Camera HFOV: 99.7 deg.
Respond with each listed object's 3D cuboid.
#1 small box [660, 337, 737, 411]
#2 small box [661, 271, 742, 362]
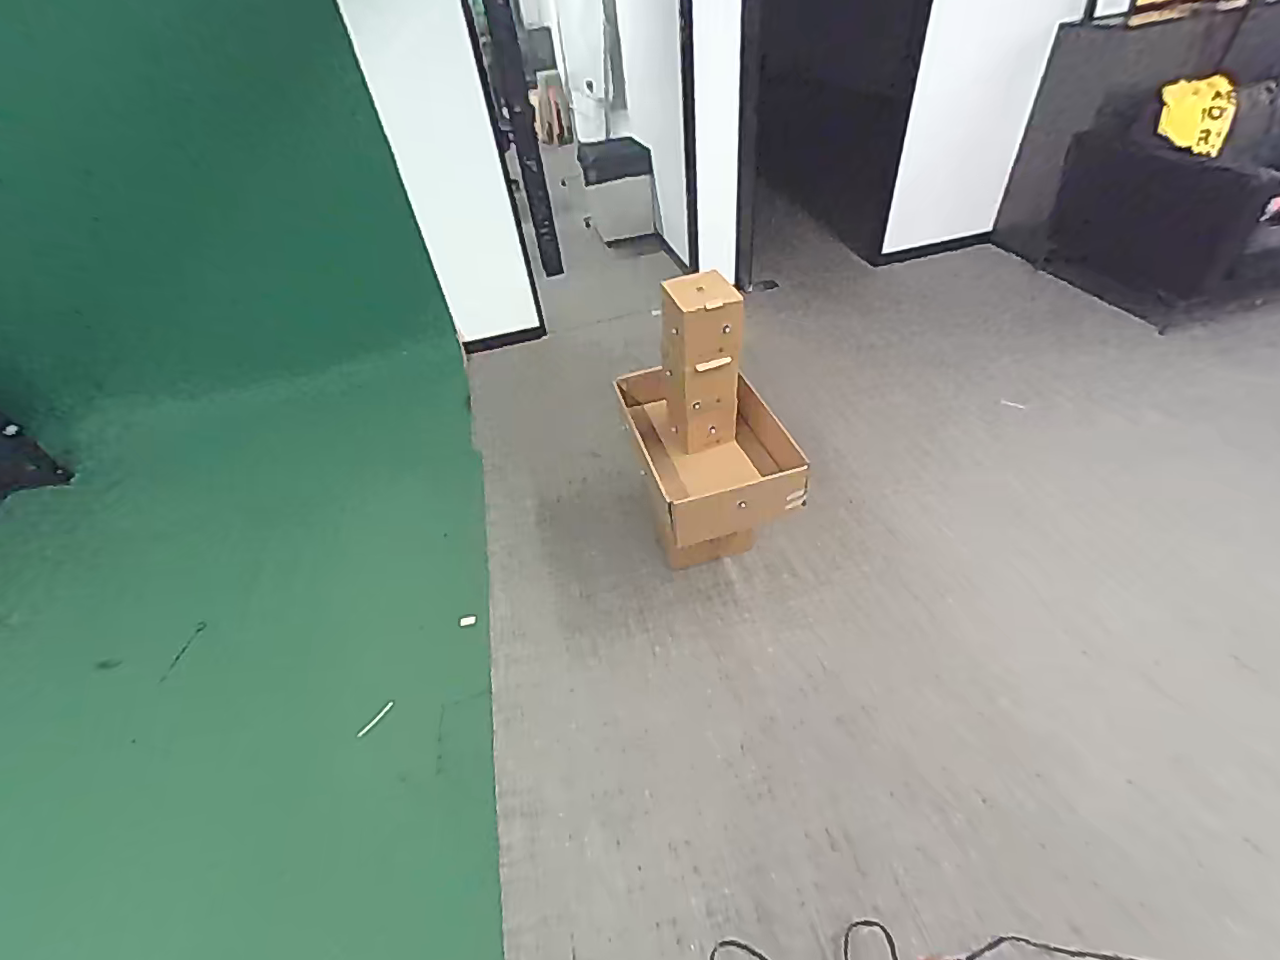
[{"bbox_3d":[0.169,-0.320,1.574,0.168,0.176,0.179,-18,47,-11],"label":"small box"},{"bbox_3d":[0.163,-0.434,1.457,0.168,0.176,0.179,-15,47,-9],"label":"small box"}]
